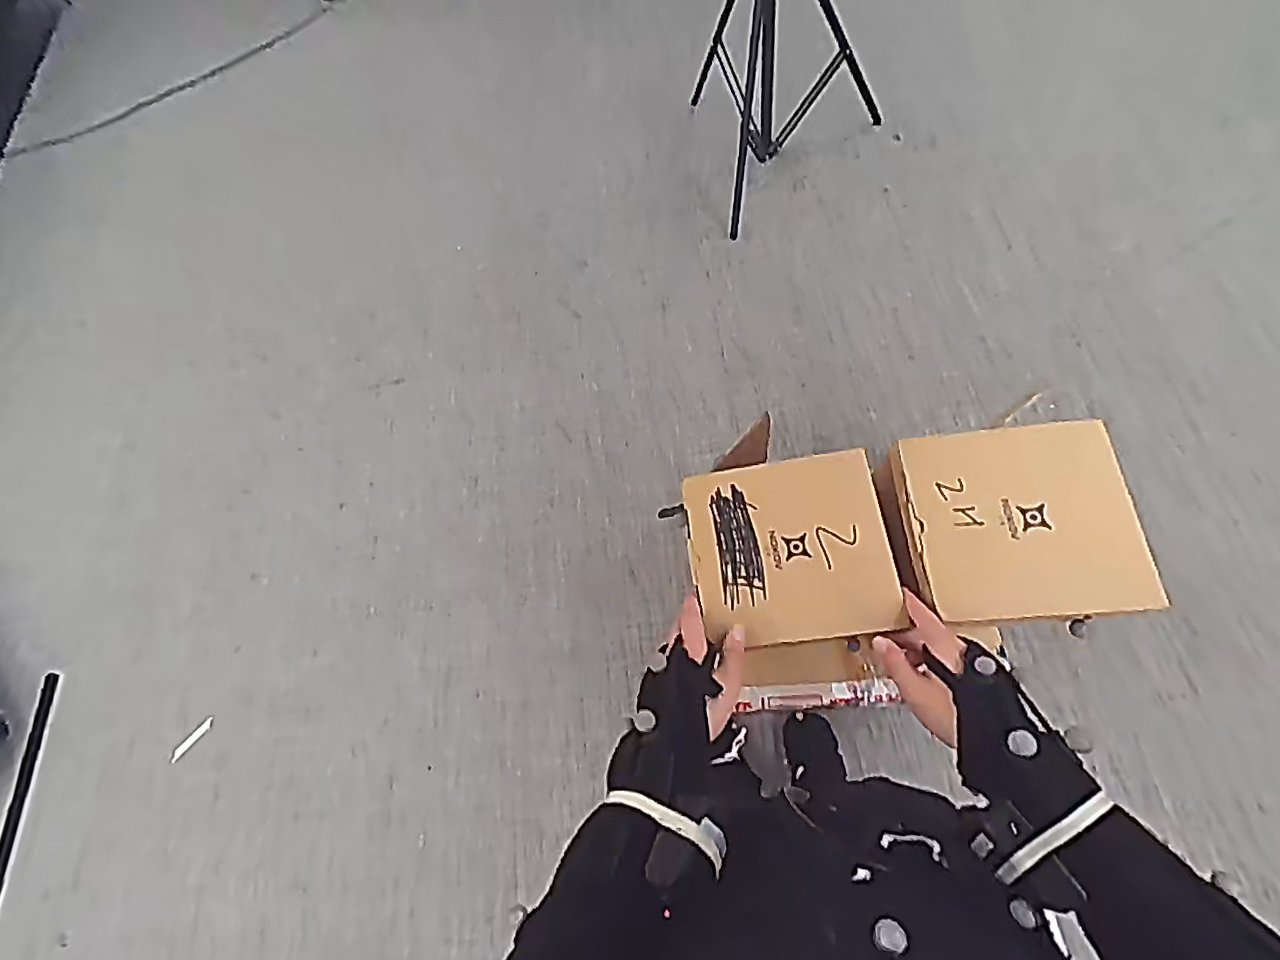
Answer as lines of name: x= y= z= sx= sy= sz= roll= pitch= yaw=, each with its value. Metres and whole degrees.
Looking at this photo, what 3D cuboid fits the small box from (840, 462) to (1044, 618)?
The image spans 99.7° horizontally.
small box: x=0.362 y=0.086 z=0.693 sx=0.179 sy=0.176 sz=0.168 roll=-3 pitch=71 yaw=8
